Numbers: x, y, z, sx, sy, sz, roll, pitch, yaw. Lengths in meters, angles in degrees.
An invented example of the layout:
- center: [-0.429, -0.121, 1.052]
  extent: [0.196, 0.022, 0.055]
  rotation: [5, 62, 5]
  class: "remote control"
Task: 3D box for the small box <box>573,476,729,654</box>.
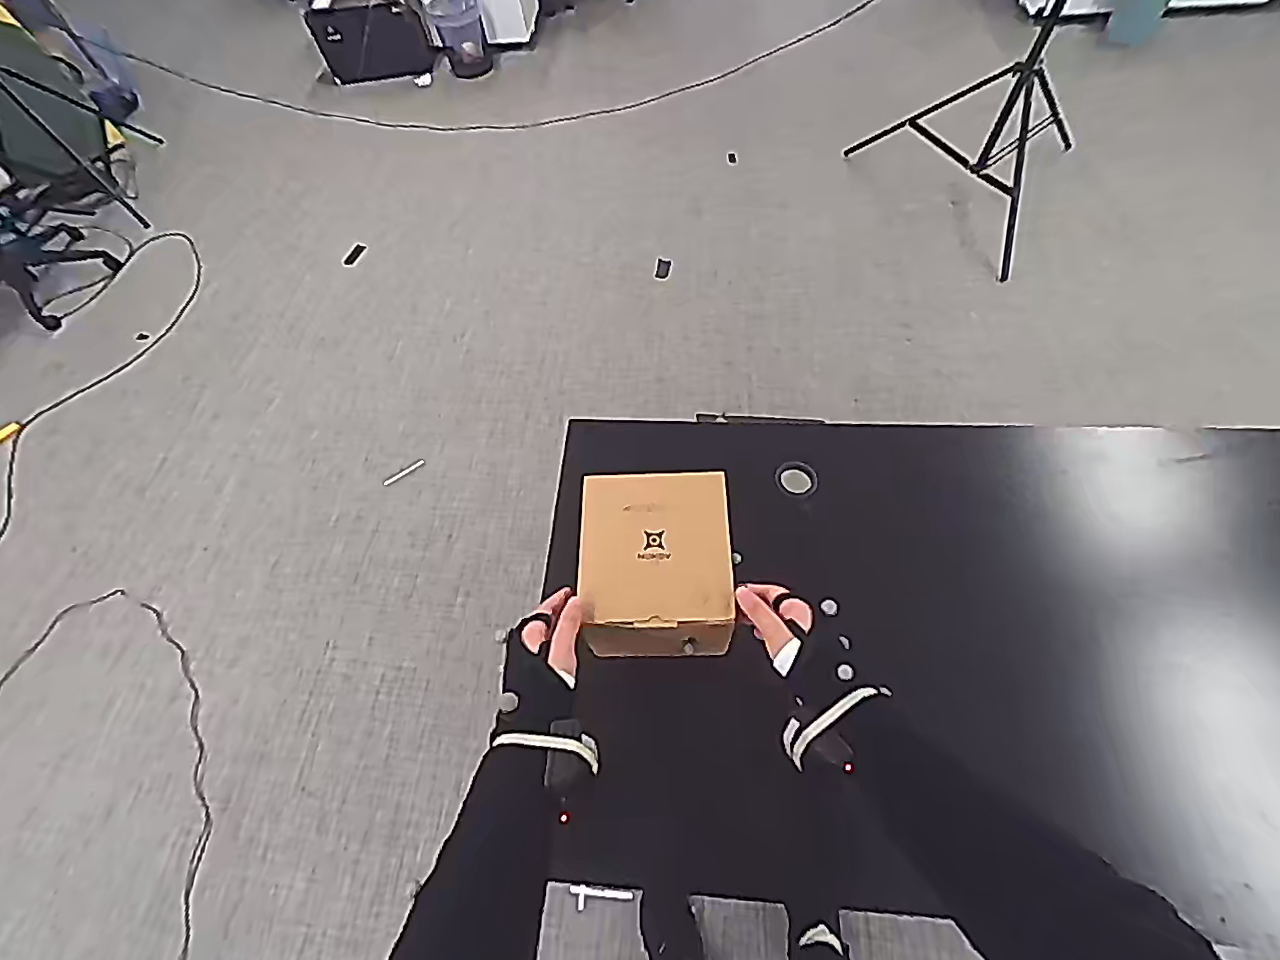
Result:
- center: [0.016, 0.112, 0.663]
  extent: [0.168, 0.176, 0.179]
  rotation: [-2, 60, 2]
  class: "small box"
